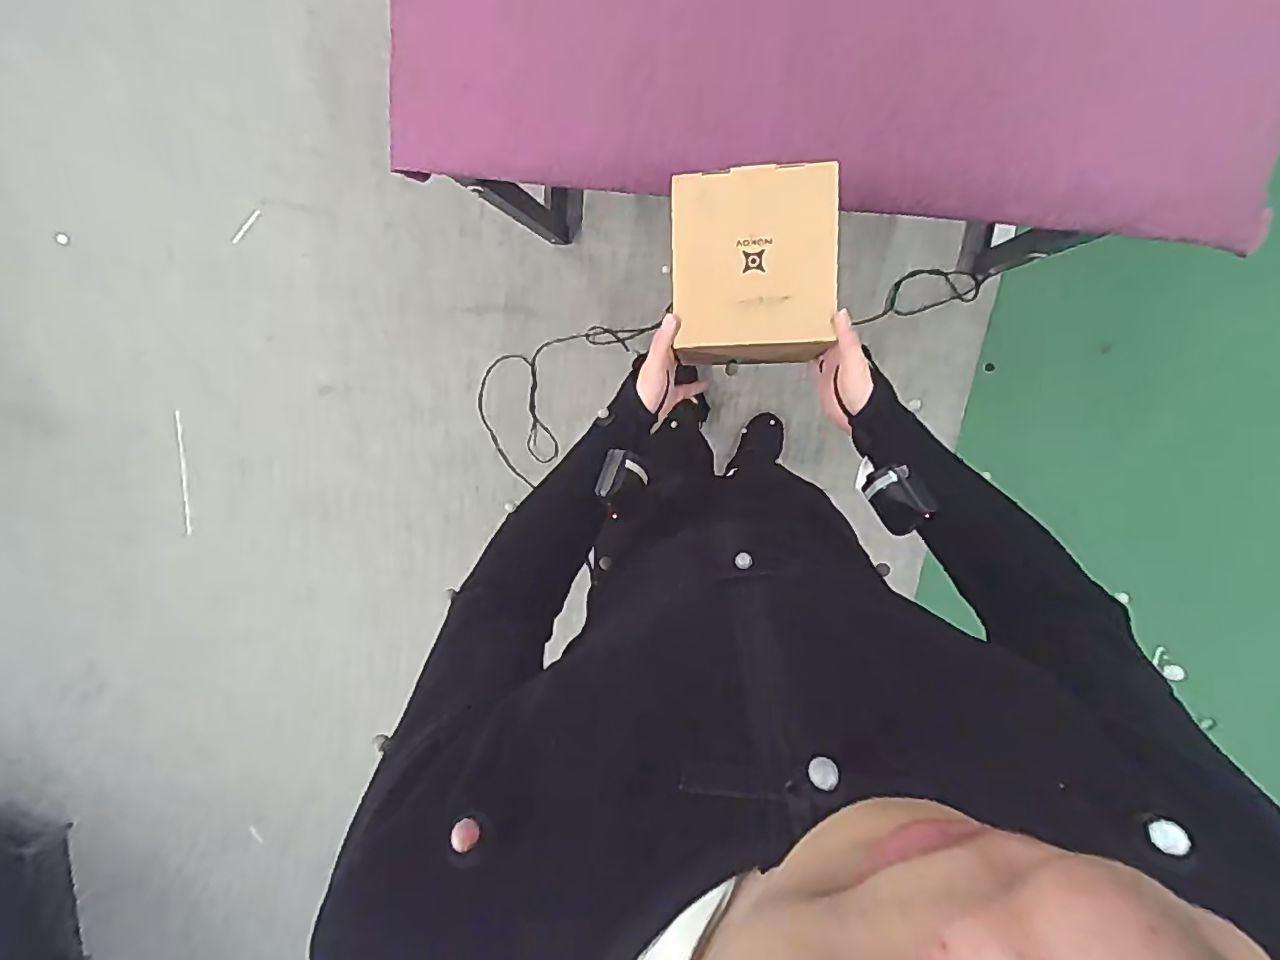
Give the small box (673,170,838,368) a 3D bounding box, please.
[{"bbox_3d":[0.124,-0.229,0.629,0.168,0.176,0.179,0,96,7],"label":"small box"}]
